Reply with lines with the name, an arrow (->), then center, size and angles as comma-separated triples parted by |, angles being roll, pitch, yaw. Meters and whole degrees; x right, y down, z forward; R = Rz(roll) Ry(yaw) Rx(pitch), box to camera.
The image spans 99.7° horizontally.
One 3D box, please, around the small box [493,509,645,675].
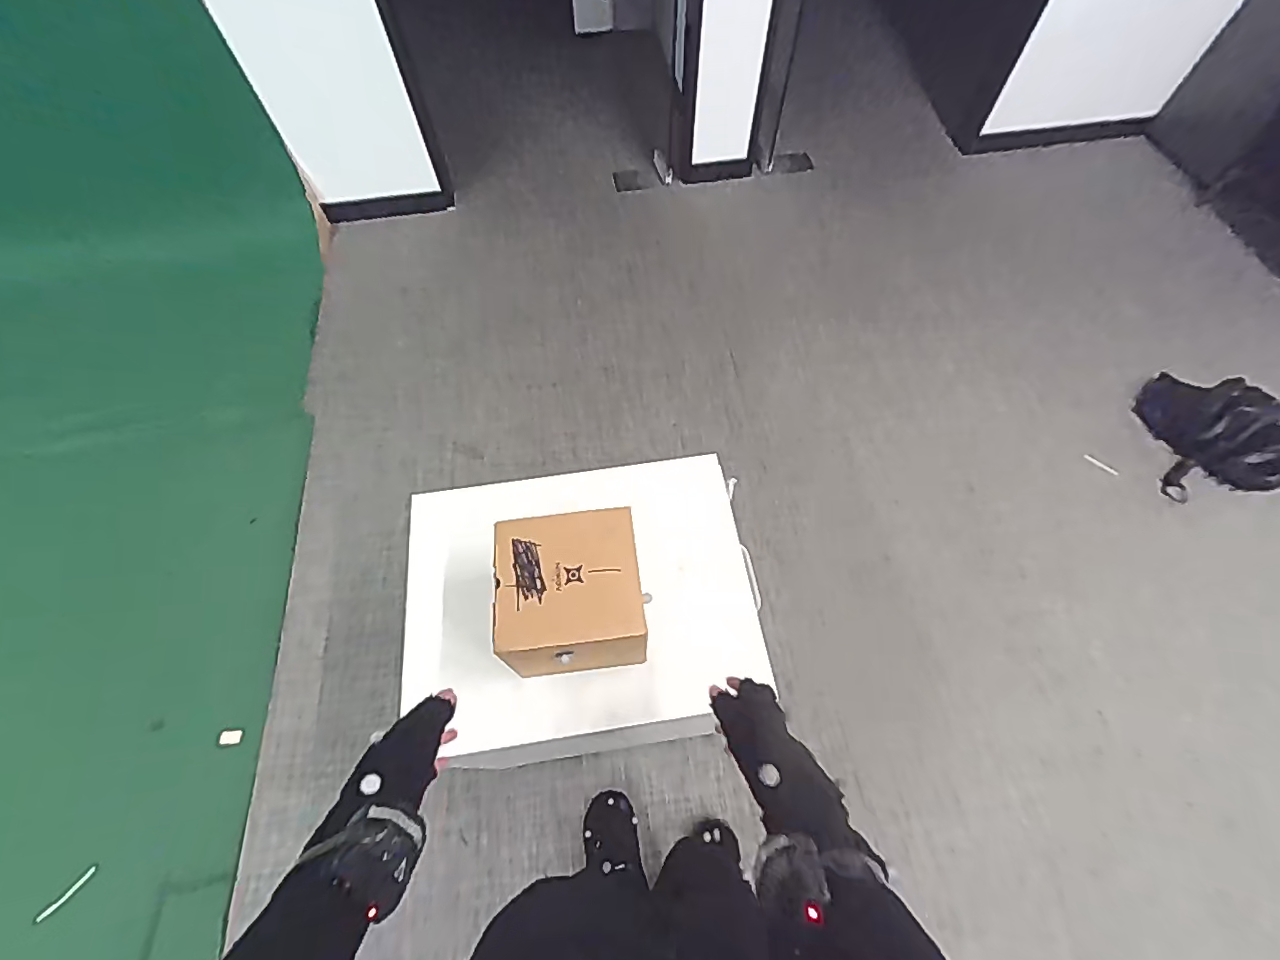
small box -> -0.088, 0.155, 0.723 | 0.179, 0.176, 0.168 | -6, 61, -3
